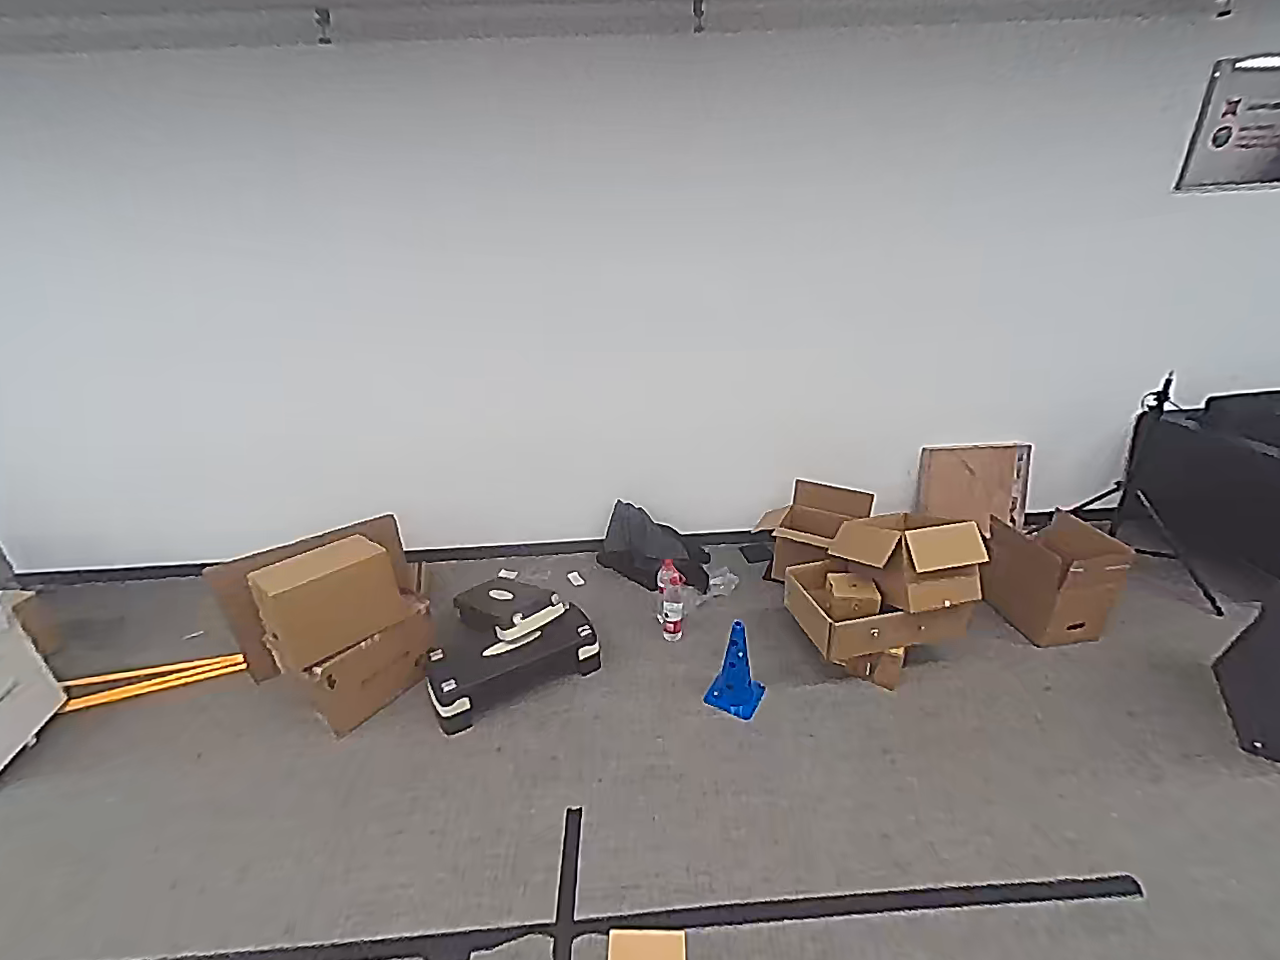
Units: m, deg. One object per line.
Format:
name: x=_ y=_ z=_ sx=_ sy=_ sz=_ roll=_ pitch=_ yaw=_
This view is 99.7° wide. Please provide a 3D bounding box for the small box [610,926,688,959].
small box: x=0.018 y=1.086 z=1.134 sx=0.168 sy=0.176 sz=0.179 roll=0 pitch=26 yaw=3
